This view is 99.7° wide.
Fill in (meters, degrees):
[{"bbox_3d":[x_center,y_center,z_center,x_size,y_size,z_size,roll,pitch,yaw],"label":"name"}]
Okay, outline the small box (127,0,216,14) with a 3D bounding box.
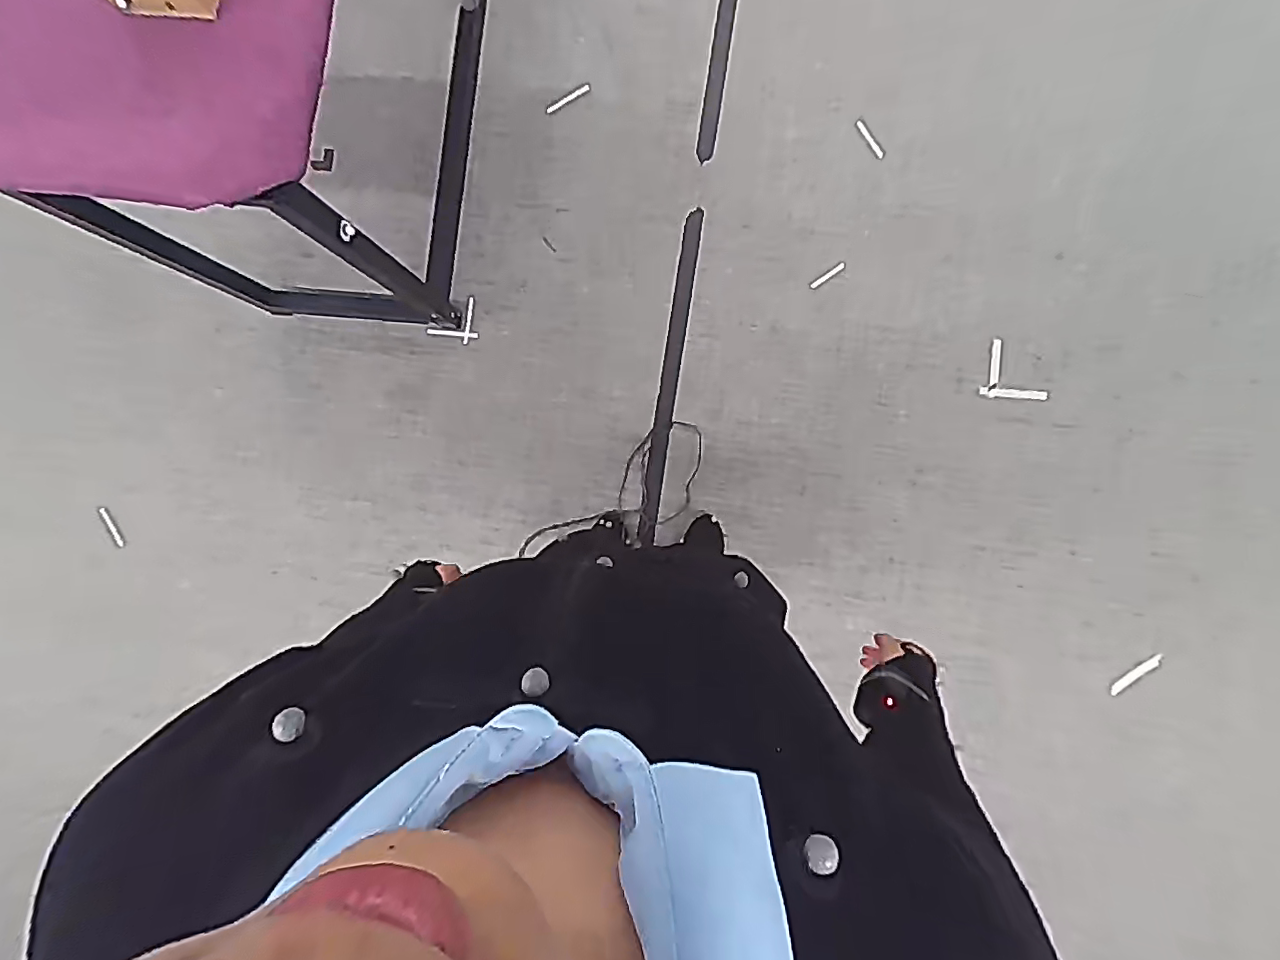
[{"bbox_3d":[-0.738,-0.828,0.780,0.168,0.176,0.179,8,88,4],"label":"small box"}]
